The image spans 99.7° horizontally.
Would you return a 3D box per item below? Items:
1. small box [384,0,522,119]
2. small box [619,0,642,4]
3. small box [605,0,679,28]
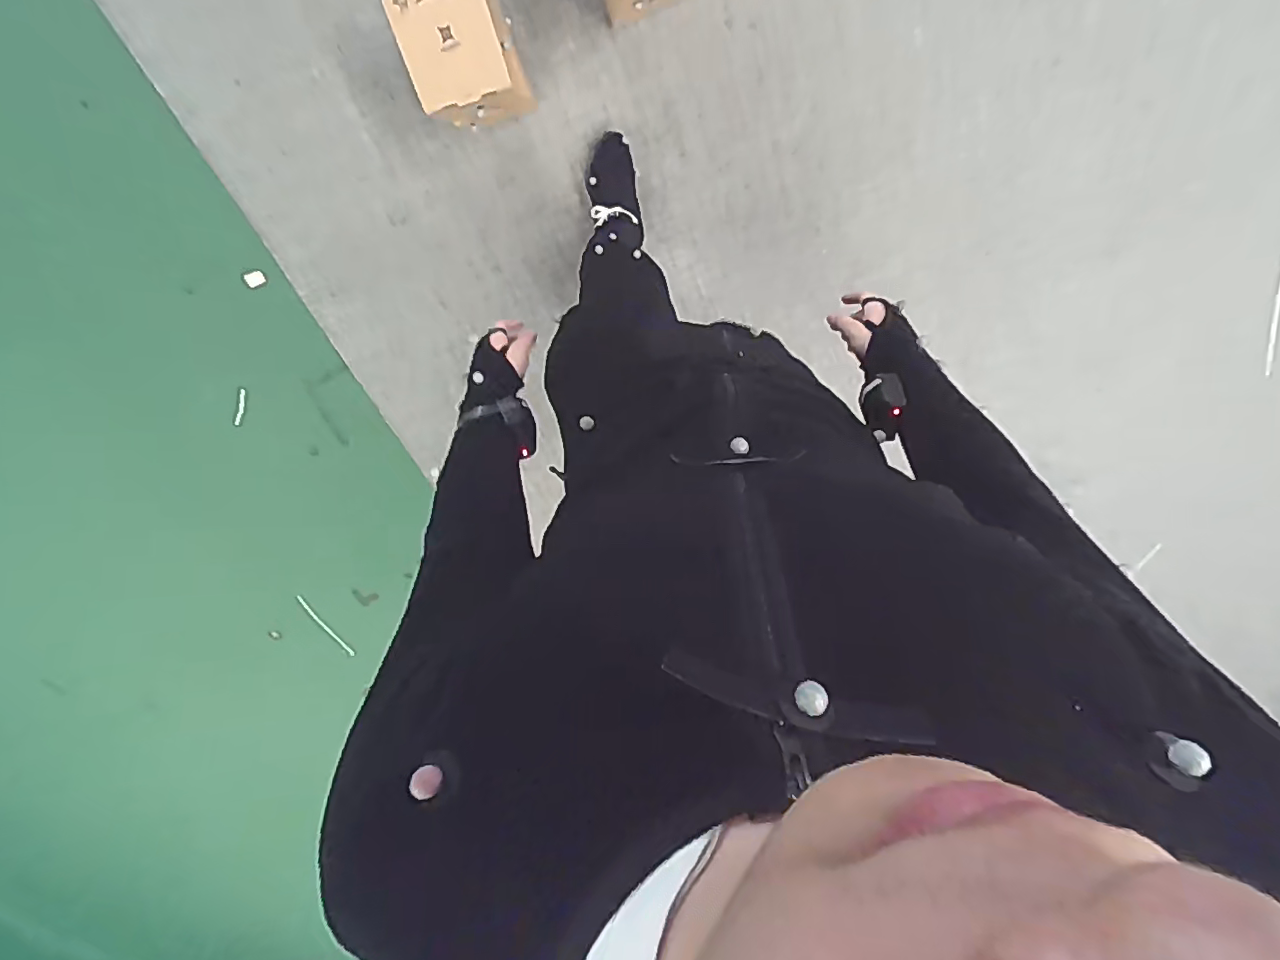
[{"bbox_3d":[-0.326,-0.780,0.985,0.168,0.176,0.179,-15,119,4],"label":"small box"},{"bbox_3d":[0.014,-0.953,0.916,0.168,0.176,0.179,-20,117,6],"label":"small box"},{"bbox_3d":[0.000,-1.033,1.058,0.179,0.176,0.168,-21,118,7],"label":"small box"}]
